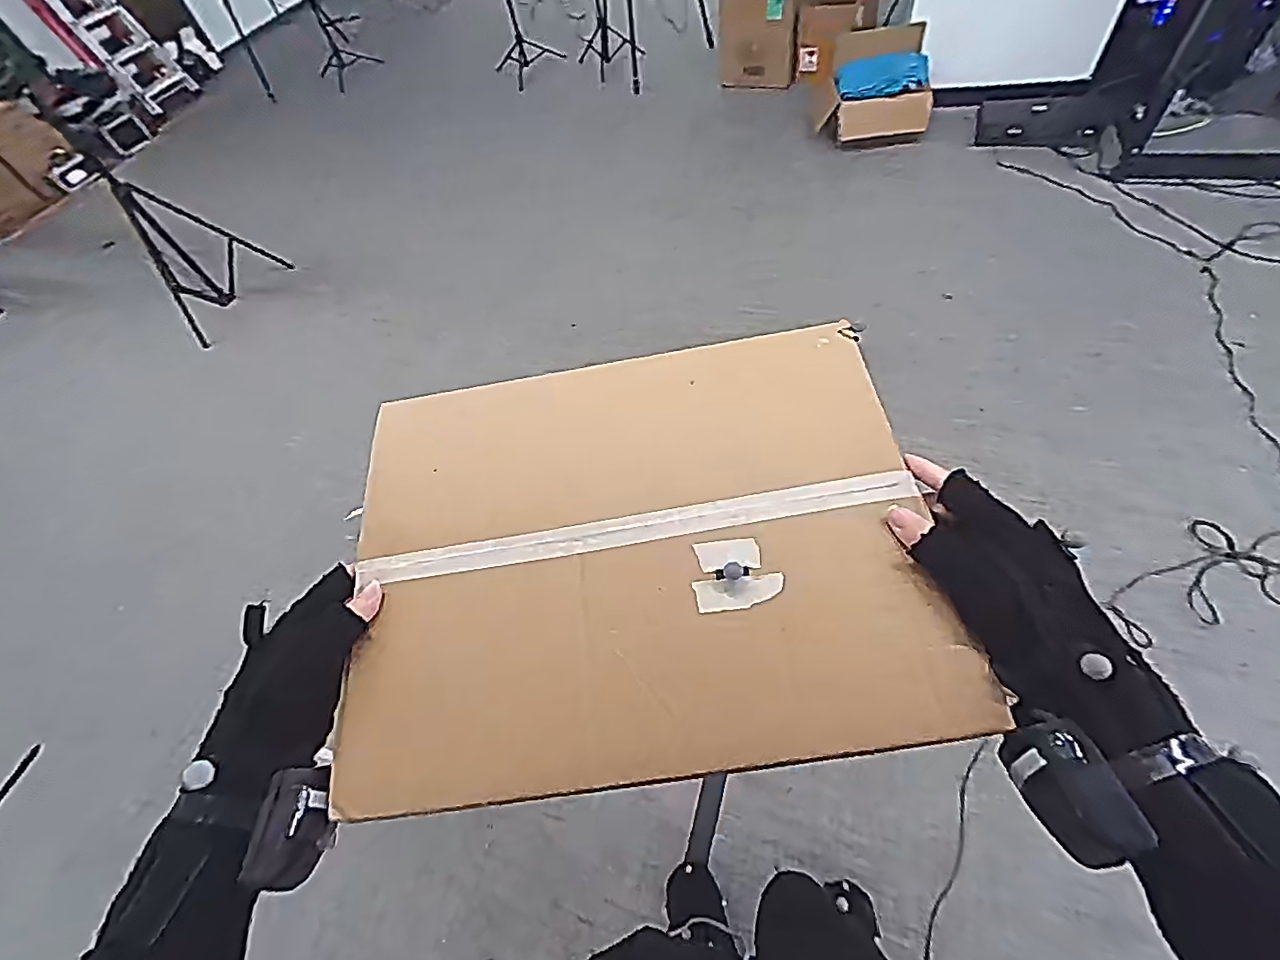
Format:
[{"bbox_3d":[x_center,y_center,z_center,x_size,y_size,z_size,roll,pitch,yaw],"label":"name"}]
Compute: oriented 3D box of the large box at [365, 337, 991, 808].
[{"bbox_3d":[0.017,0.111,0.534,0.408,0.320,0.320,-9,62,3],"label":"large box"}]
